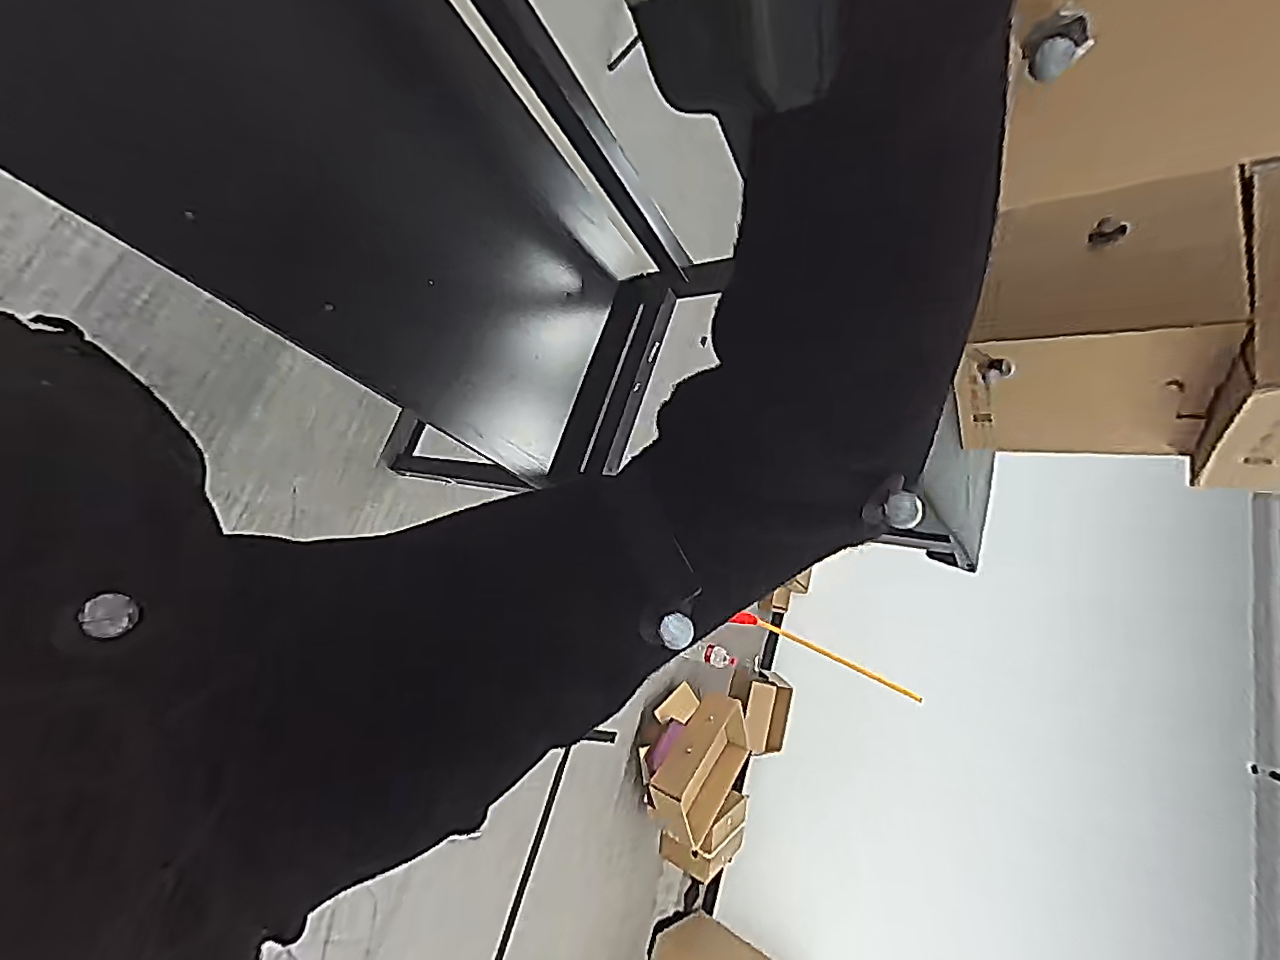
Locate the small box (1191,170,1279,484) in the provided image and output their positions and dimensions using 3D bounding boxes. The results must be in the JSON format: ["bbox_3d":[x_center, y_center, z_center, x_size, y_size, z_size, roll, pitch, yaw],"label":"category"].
[{"bbox_3d":[0.503,-0.099,0.363,0.168,0.176,0.179,36,65,-51],"label":"small box"}]

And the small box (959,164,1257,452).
[{"bbox_3d":[0.382,-0.140,0.469,0.168,0.176,0.179,44,59,-47],"label":"small box"}]
